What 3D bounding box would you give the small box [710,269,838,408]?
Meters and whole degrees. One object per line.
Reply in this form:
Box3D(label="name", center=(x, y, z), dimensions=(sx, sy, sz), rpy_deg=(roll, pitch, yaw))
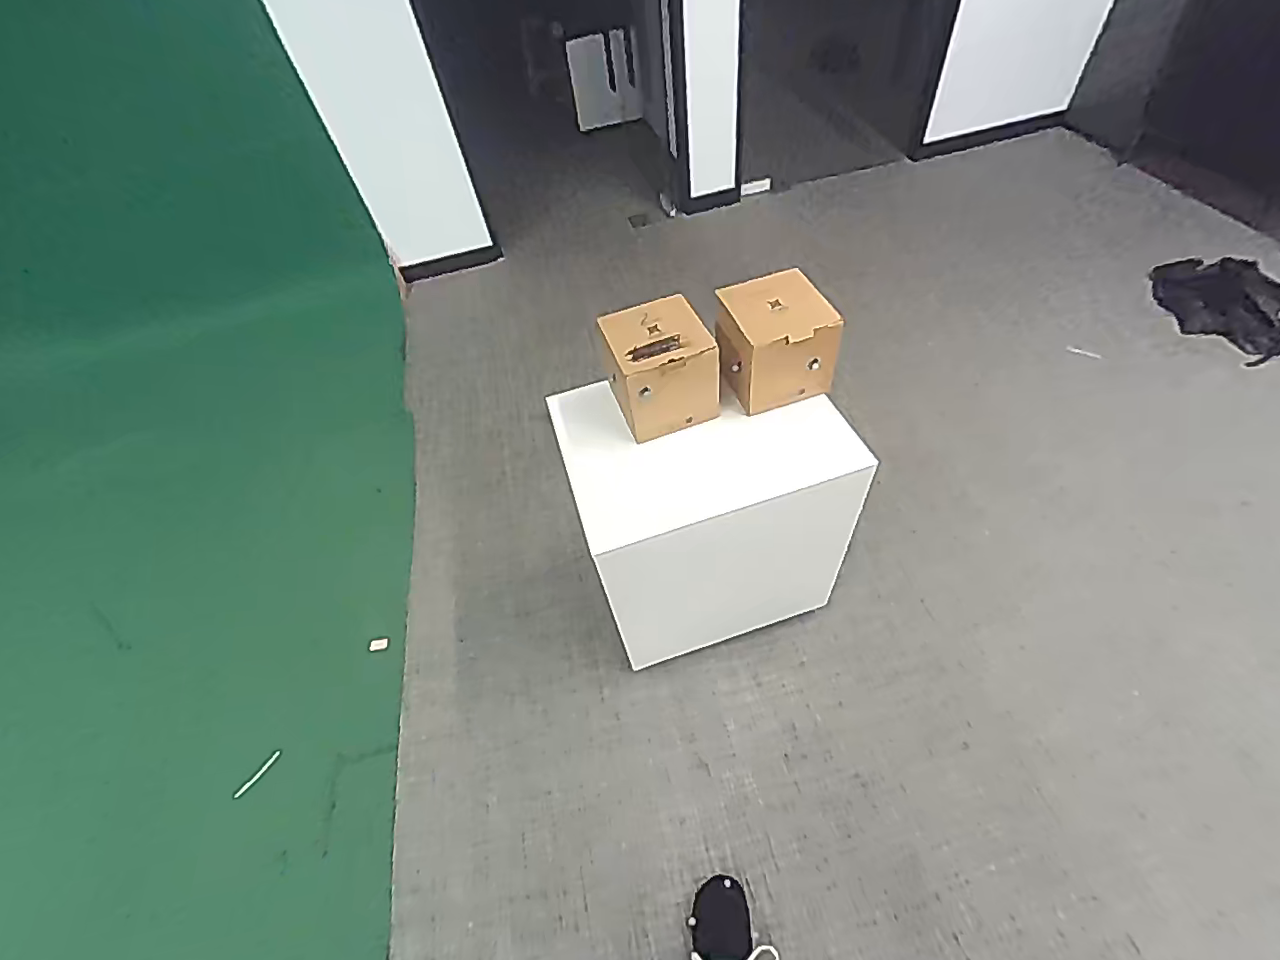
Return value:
Box3D(label="small box", center=(0.237, -0.252, 0.996), dimensions=(0.168, 0.176, 0.179), rpy_deg=(-17, 52, -6))
